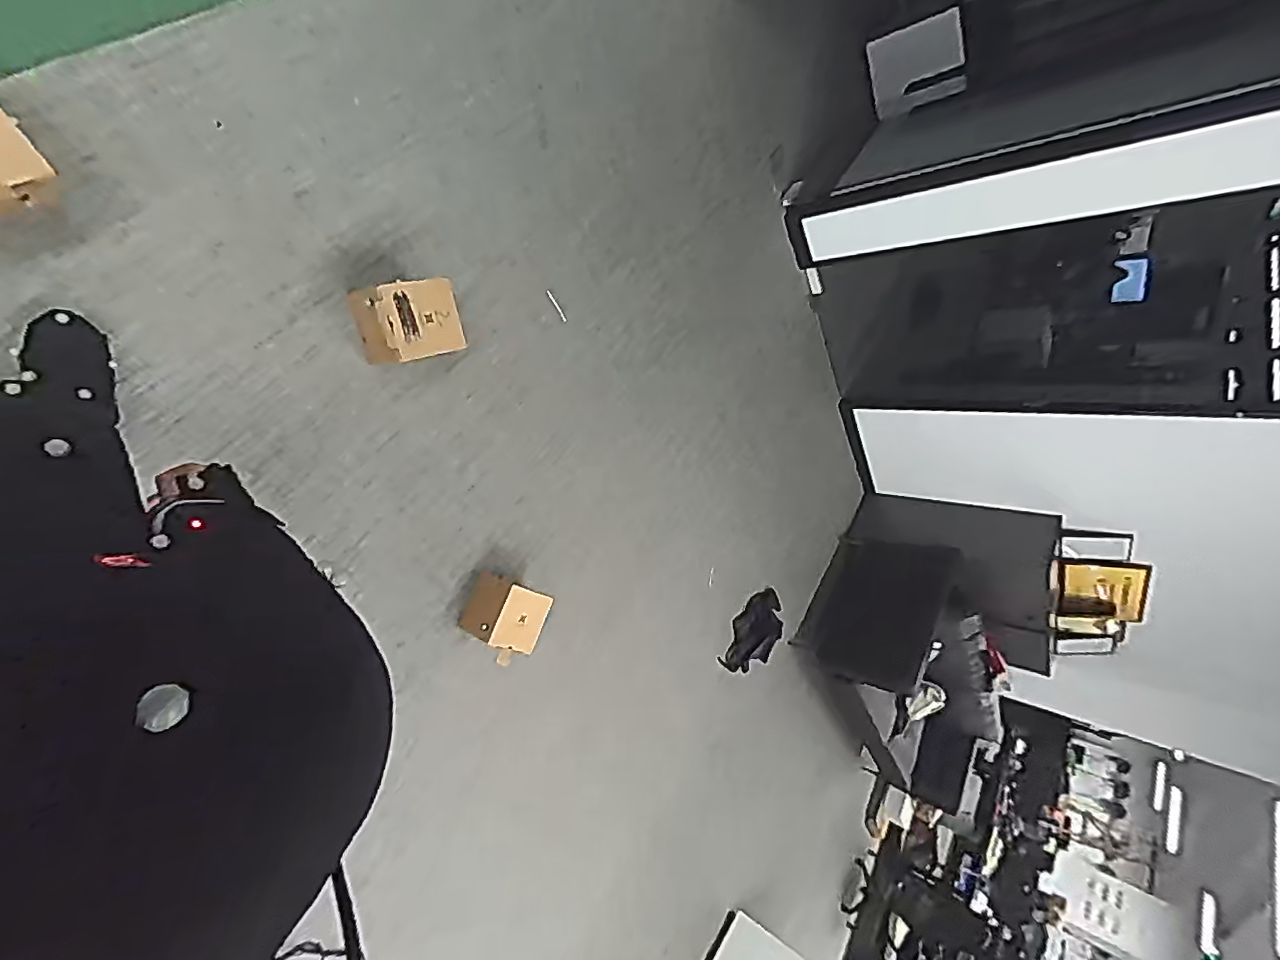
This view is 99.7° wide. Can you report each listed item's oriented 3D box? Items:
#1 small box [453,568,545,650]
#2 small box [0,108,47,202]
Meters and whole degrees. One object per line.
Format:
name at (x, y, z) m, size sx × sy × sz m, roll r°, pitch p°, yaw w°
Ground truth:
small box at (-0.418, 0.376, 1.594) m, size 0.168 × 0.176 × 0.179 m, roll 34°, pitch 73°, yaw -46°
small box at (-1.009, -0.490, 0.764) m, size 0.168 × 0.176 × 0.179 m, roll -48°, pitch 129°, yaw -33°
